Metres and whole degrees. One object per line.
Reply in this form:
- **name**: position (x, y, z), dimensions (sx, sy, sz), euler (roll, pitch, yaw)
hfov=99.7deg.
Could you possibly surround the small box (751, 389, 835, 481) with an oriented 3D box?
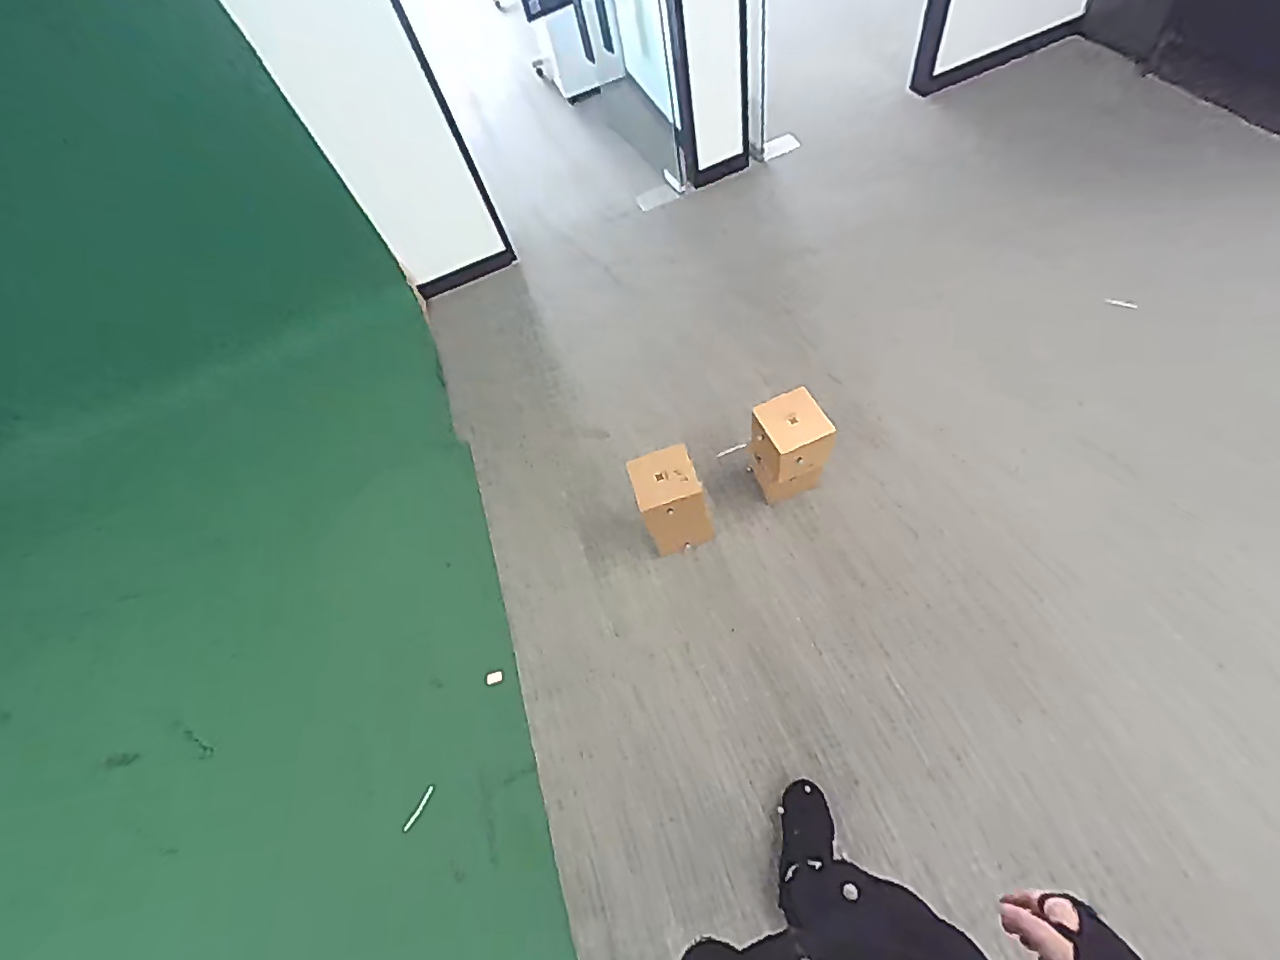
- **small box**: position (0.431, -0.119, 1.537), dimensions (0.168, 0.176, 0.179), euler (-24, 57, -2)

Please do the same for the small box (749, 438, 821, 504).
- **small box**: position (0.453, -0.049, 1.682), dimensions (0.179, 0.176, 0.168), euler (-21, 58, 0)

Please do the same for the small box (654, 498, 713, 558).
- **small box**: position (0.118, 0.118, 1.663), dimensions (0.179, 0.176, 0.168), euler (-19, 58, 1)

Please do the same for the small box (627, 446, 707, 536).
- **small box**: position (0.079, 0.038, 1.524), dimensions (0.179, 0.176, 0.168), euler (-19, 58, 1)
